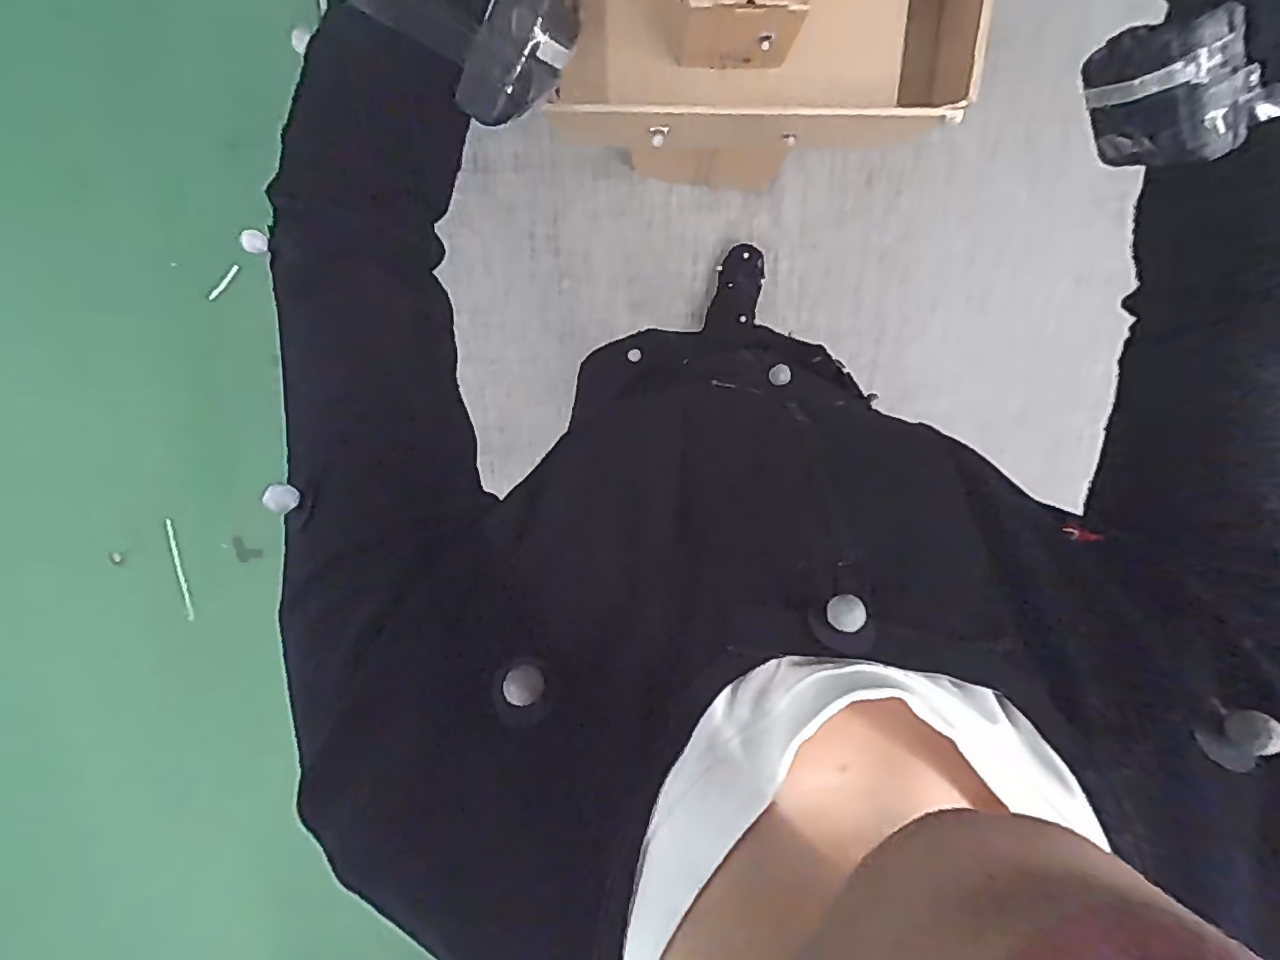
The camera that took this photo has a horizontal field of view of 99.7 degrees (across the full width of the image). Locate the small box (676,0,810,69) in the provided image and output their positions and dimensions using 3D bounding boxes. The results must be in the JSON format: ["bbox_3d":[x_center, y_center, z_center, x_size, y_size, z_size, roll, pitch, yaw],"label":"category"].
[{"bbox_3d":[0.141,-0.714,0.761,0.168,0.176,0.179,0,103,-1],"label":"small box"}]
